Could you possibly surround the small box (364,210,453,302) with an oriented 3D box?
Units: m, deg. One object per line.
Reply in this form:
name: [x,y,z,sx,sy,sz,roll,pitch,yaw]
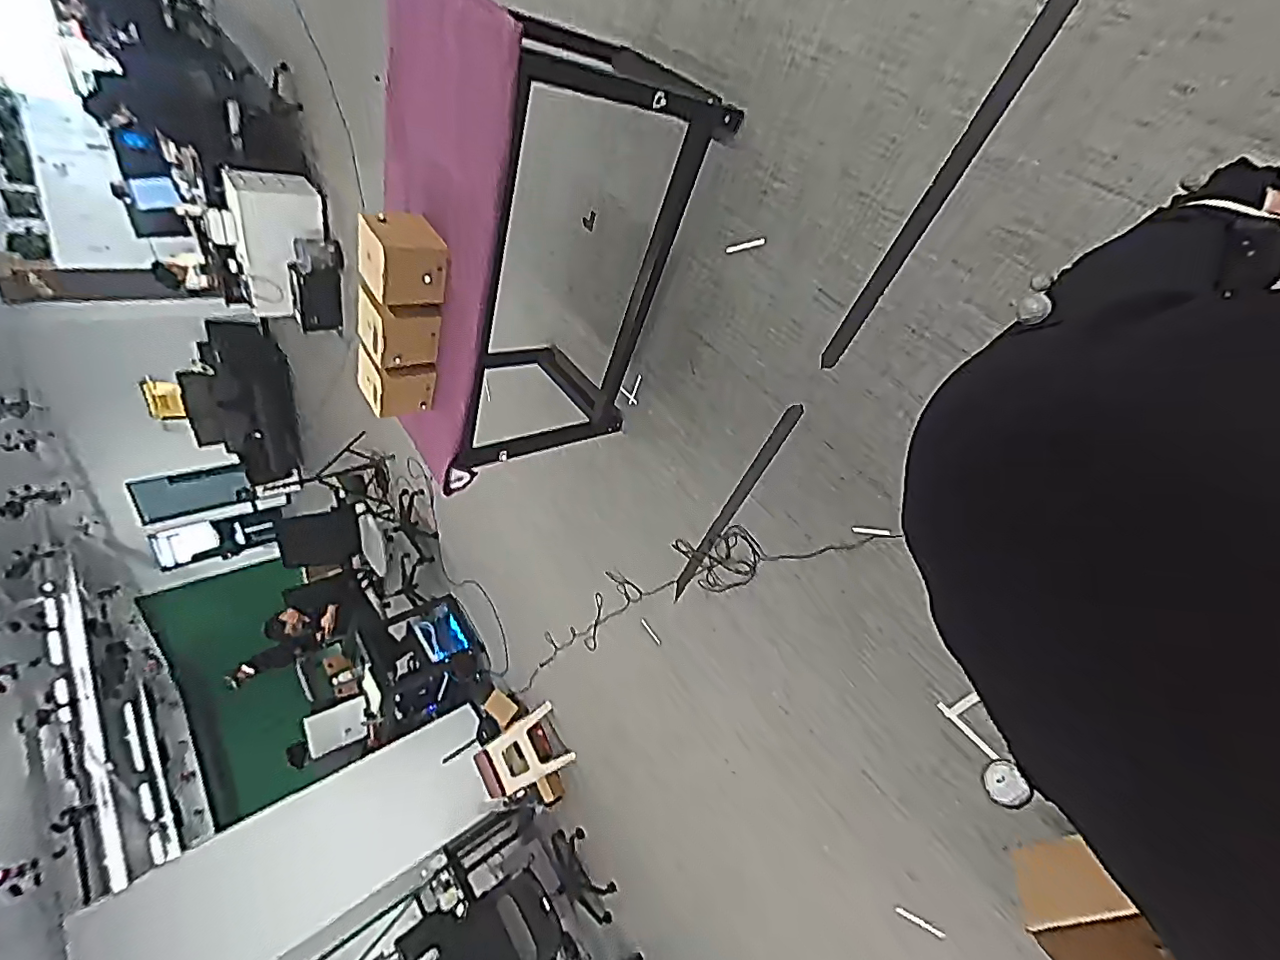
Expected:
small box: [-0.624,-0.599,1.453,0.179,0.176,0.168,51,138,24]
